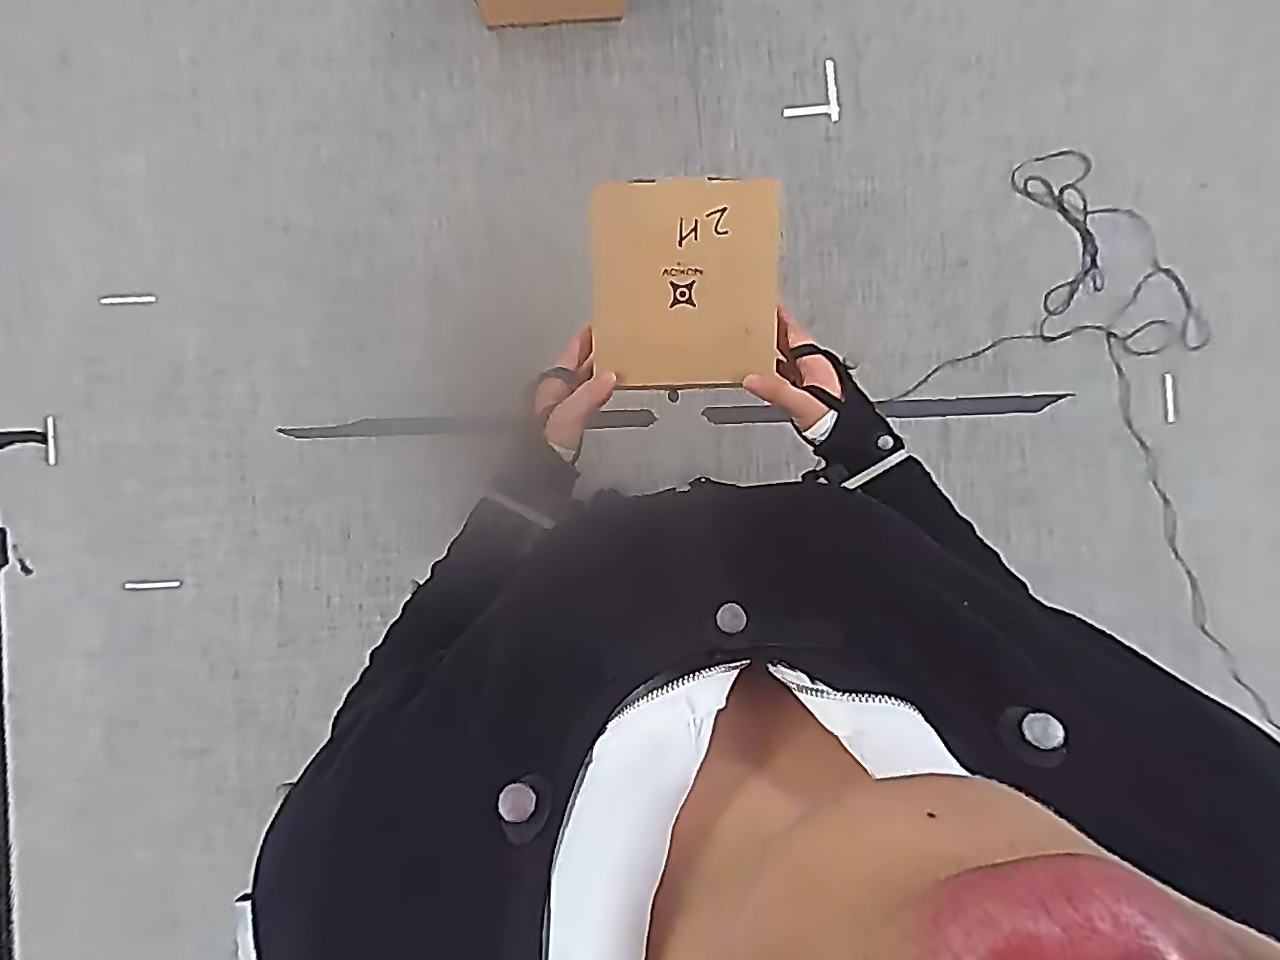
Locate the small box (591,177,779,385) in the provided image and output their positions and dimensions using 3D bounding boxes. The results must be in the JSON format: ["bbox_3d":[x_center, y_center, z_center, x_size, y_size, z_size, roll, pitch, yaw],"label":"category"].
[{"bbox_3d":[0.039,-0.188,0.560,0.168,0.176,0.179,-1,98,-1],"label":"small box"}]
